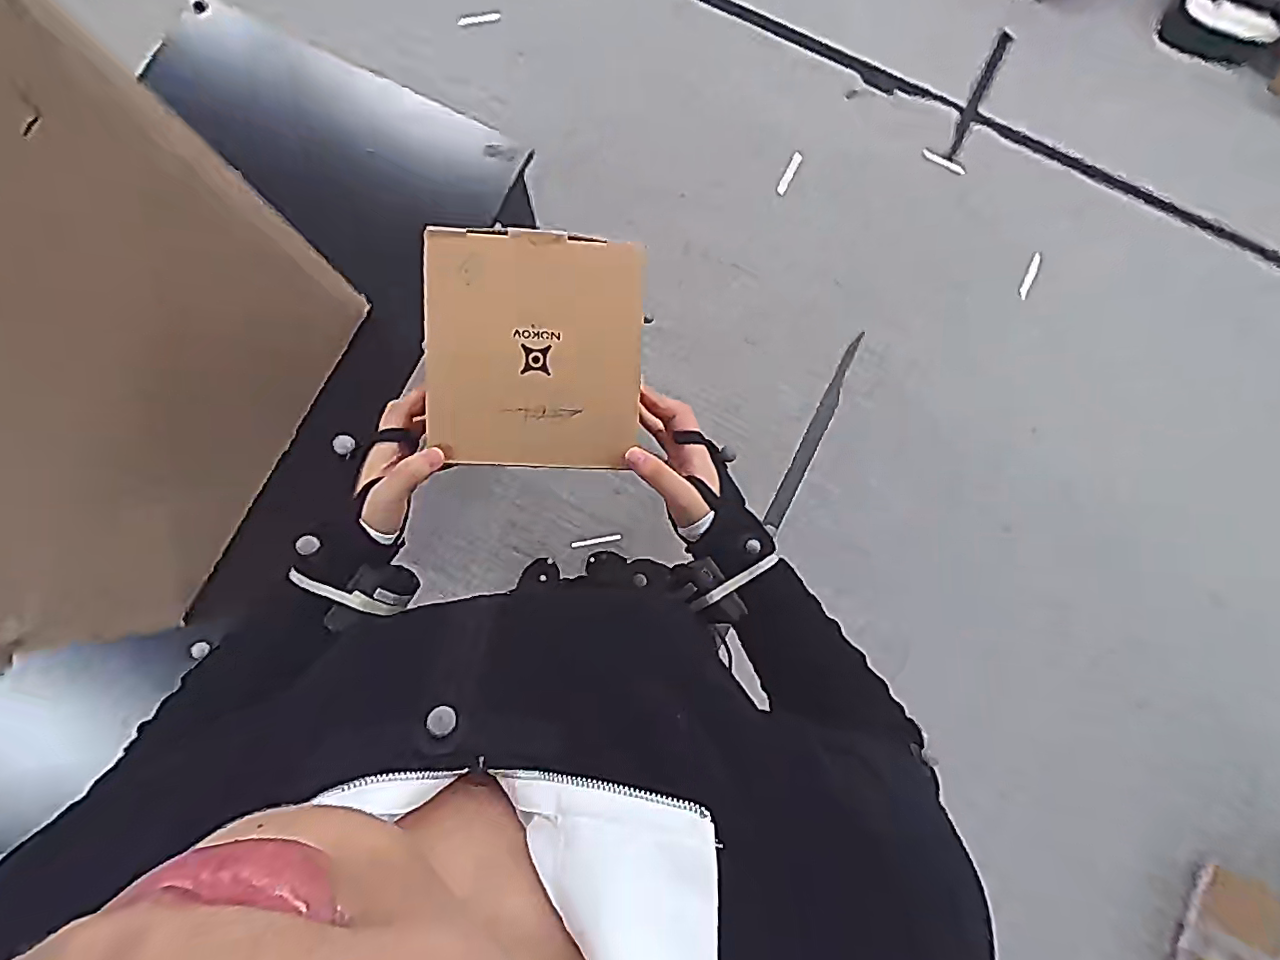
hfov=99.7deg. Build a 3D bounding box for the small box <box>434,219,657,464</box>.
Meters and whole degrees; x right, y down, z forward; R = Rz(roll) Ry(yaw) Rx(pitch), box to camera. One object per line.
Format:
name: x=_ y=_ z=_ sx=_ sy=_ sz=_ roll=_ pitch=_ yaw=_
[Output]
small box: x=-0.080 y=-0.116 z=0.495 sx=0.168 sy=0.176 sz=0.179 roll=3 pitch=100 yaw=-4
